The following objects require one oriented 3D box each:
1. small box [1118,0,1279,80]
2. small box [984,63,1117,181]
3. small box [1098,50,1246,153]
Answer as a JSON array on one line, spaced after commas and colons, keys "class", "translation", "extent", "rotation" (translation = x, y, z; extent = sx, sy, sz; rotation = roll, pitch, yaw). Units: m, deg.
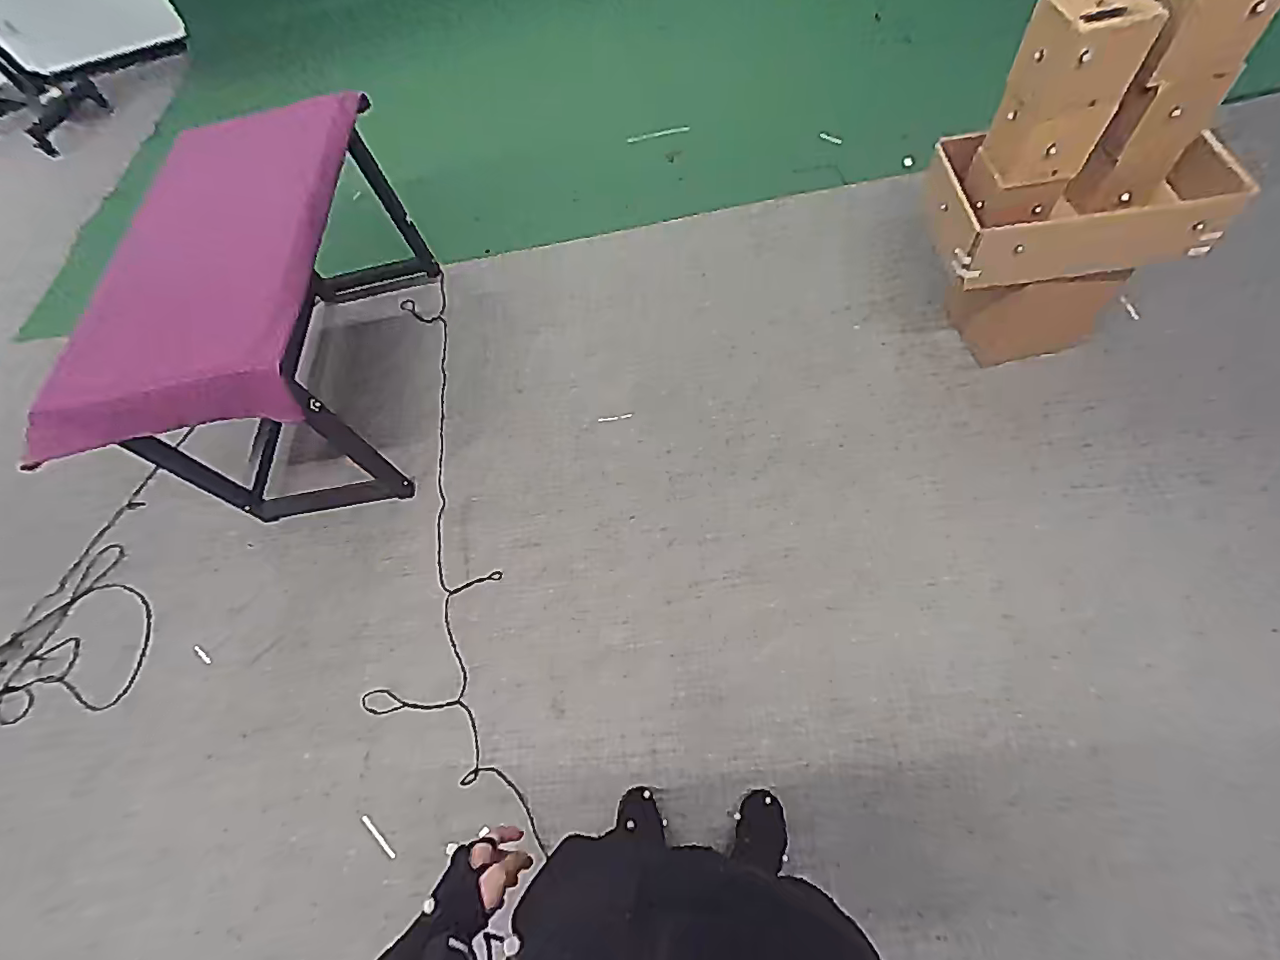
[{"class": "small box", "translation": [1.170, -0.981, 1.129], "extent": [0.179, 0.176, 0.168], "rotation": [-6, 61, 10]}, {"class": "small box", "translation": [0.963, -0.840, 1.287], "extent": [0.168, 0.176, 0.179], "rotation": [-8, 61, 6]}, {"class": "small box", "translation": [1.219, -0.909, 1.271], "extent": [0.179, 0.176, 0.168], "rotation": [-12, 61, 7]}]
